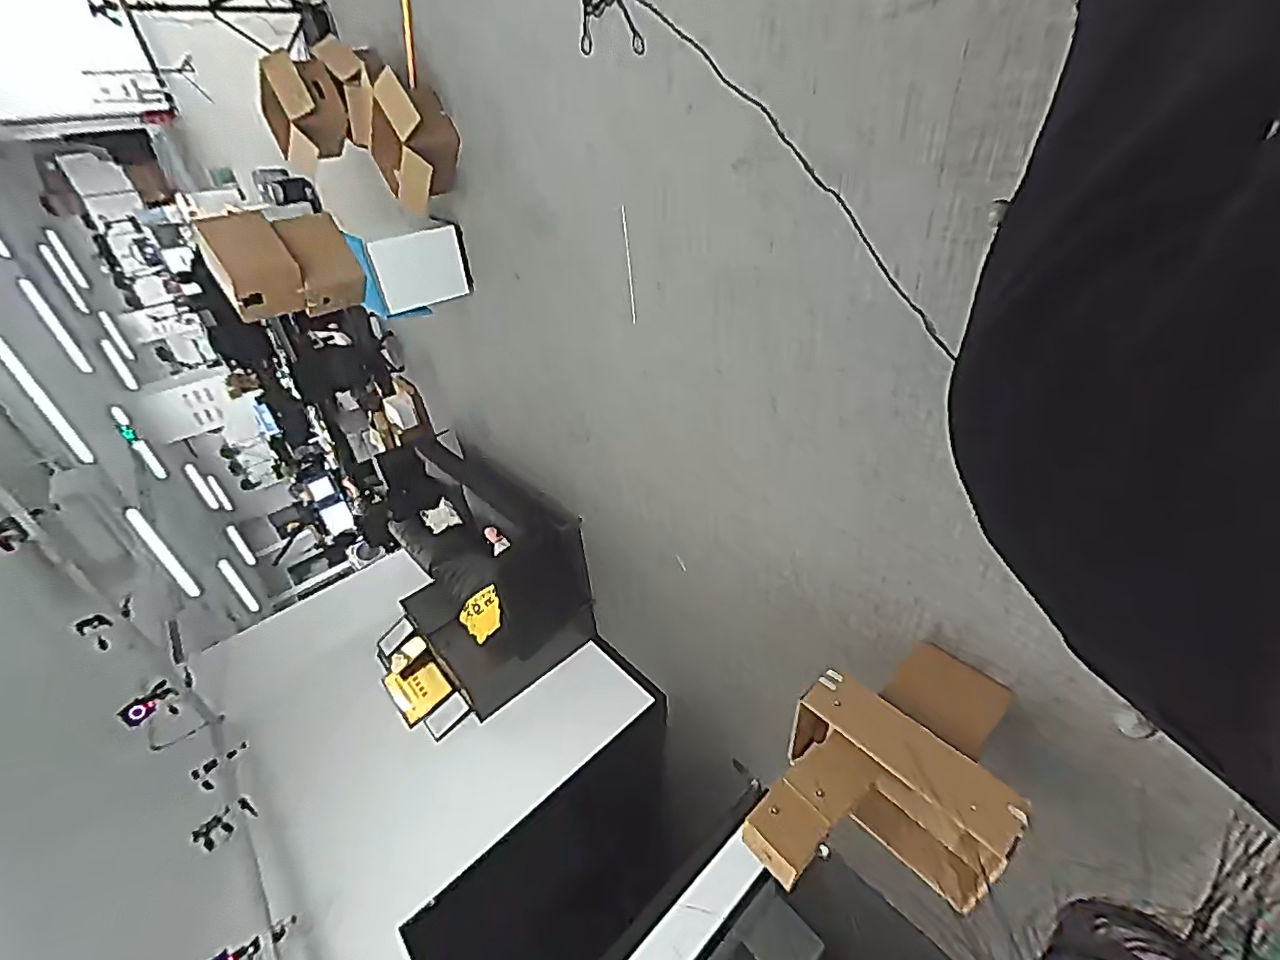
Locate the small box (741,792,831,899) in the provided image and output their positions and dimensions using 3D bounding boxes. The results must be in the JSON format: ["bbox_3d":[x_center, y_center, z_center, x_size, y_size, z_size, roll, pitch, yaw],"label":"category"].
[{"bbox_3d":[0.417,1.039,1.555,0.179,0.176,0.168,34,140,38],"label":"small box"}]

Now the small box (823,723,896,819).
[{"bbox_3d":[0.678,0.910,1.705,0.168,0.176,0.179,36,141,37],"label":"small box"}]

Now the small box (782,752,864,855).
[{"bbox_3d":[0.544,0.968,1.629,0.179,0.176,0.168,35,140,38],"label":"small box"}]
